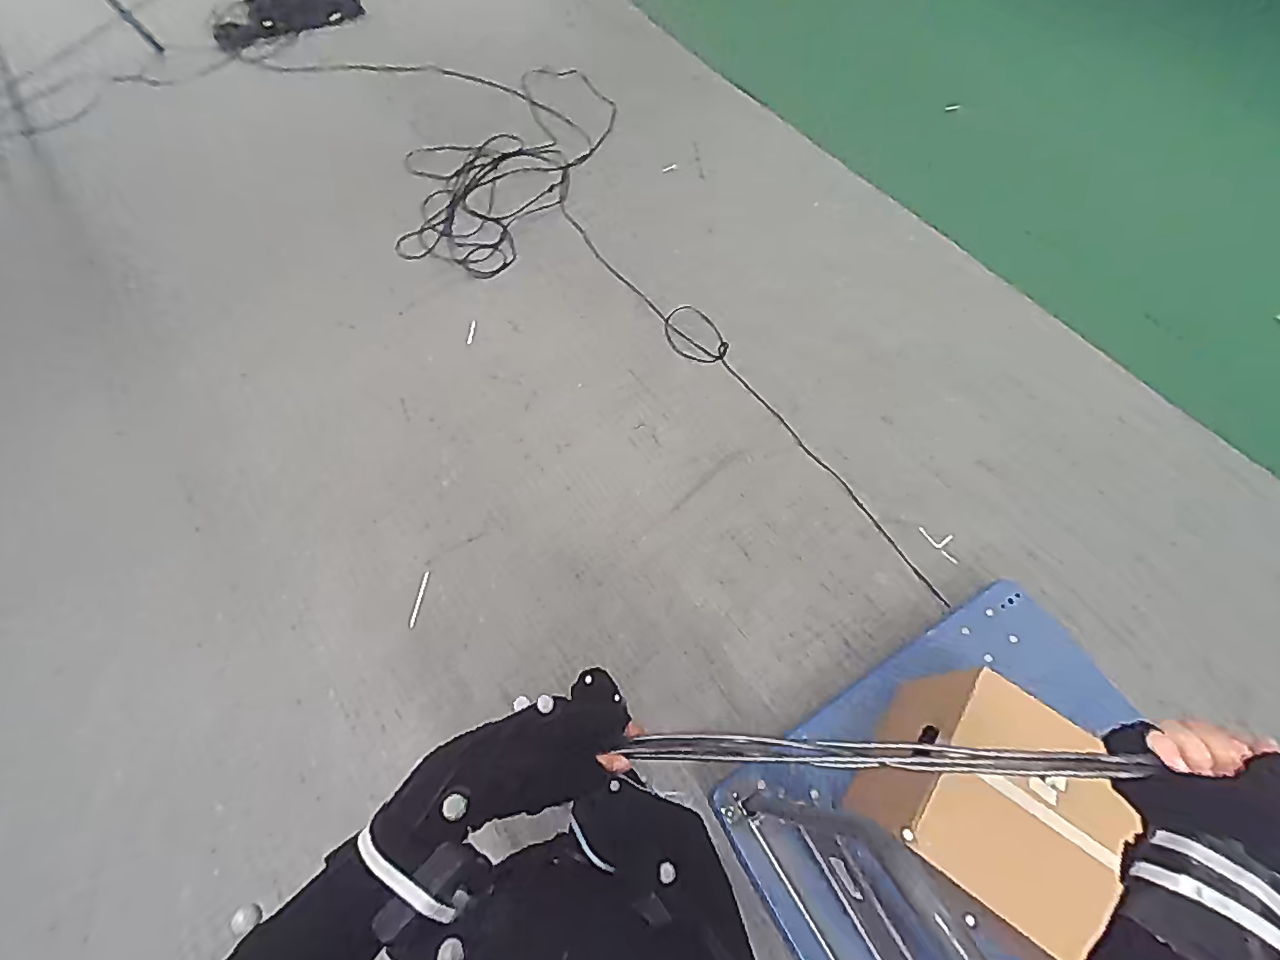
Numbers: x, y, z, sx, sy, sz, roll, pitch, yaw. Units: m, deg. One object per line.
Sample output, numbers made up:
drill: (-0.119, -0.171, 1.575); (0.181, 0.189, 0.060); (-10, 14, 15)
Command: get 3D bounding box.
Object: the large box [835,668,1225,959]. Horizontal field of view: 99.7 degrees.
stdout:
large box: (0.633, 0.593, 0.945); (0.408, 0.320, 0.320); (34, 69, 15)
